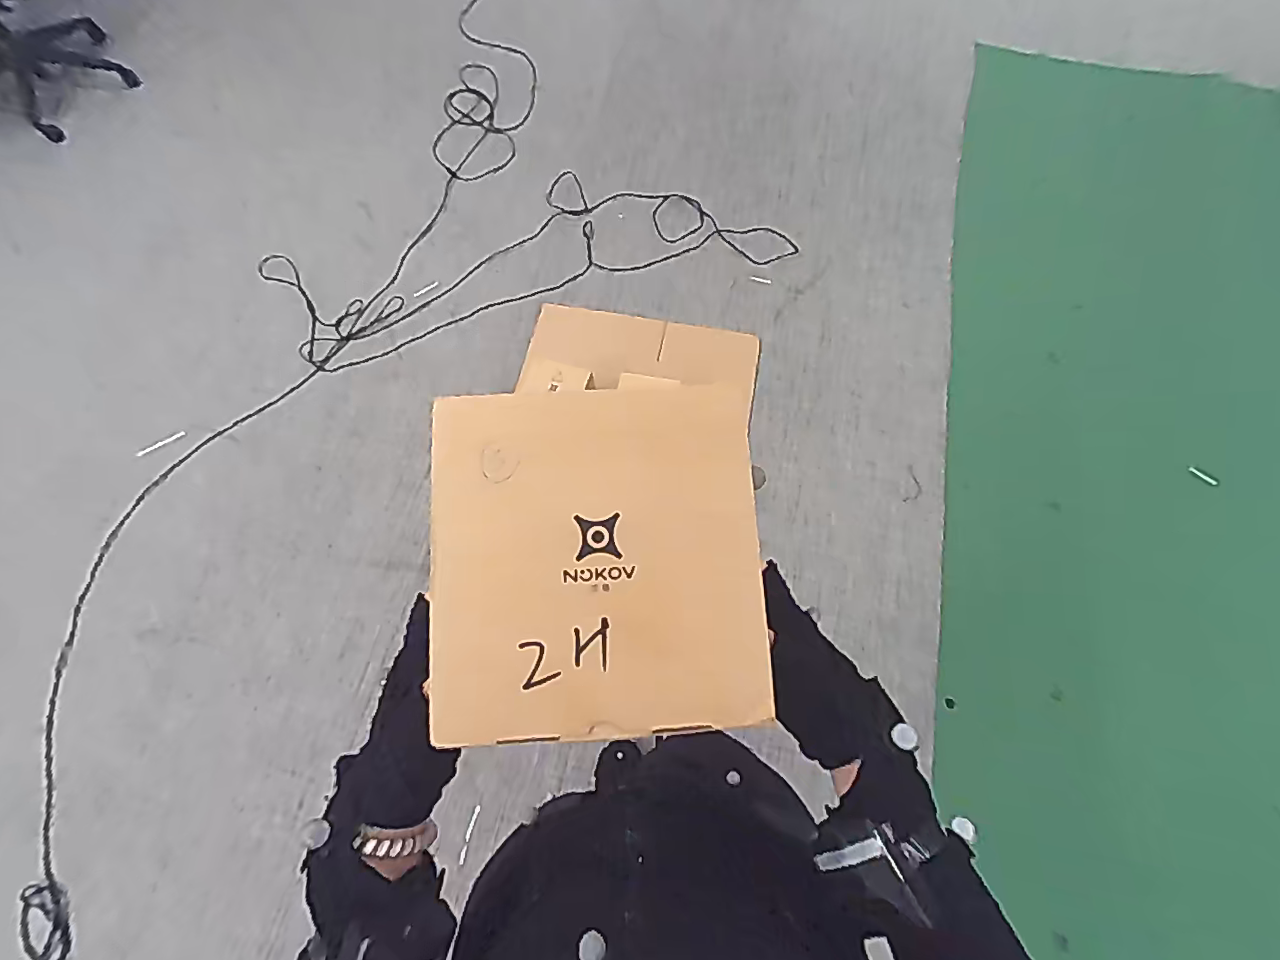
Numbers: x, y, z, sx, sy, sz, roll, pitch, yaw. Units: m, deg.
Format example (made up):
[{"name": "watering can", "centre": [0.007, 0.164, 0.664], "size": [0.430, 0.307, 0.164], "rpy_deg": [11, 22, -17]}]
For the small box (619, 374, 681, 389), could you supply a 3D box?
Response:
[{"name": "small box", "centre": [0.015, -0.163, 1.482], "size": [0.168, 0.176, 0.179], "rpy_deg": [9, 70, 4]}]

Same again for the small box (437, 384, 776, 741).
[{"name": "small box", "centre": [-0.021, 0.050, 0.353], "size": [0.168, 0.176, 0.179], "rpy_deg": [-3, 80, -2]}]
